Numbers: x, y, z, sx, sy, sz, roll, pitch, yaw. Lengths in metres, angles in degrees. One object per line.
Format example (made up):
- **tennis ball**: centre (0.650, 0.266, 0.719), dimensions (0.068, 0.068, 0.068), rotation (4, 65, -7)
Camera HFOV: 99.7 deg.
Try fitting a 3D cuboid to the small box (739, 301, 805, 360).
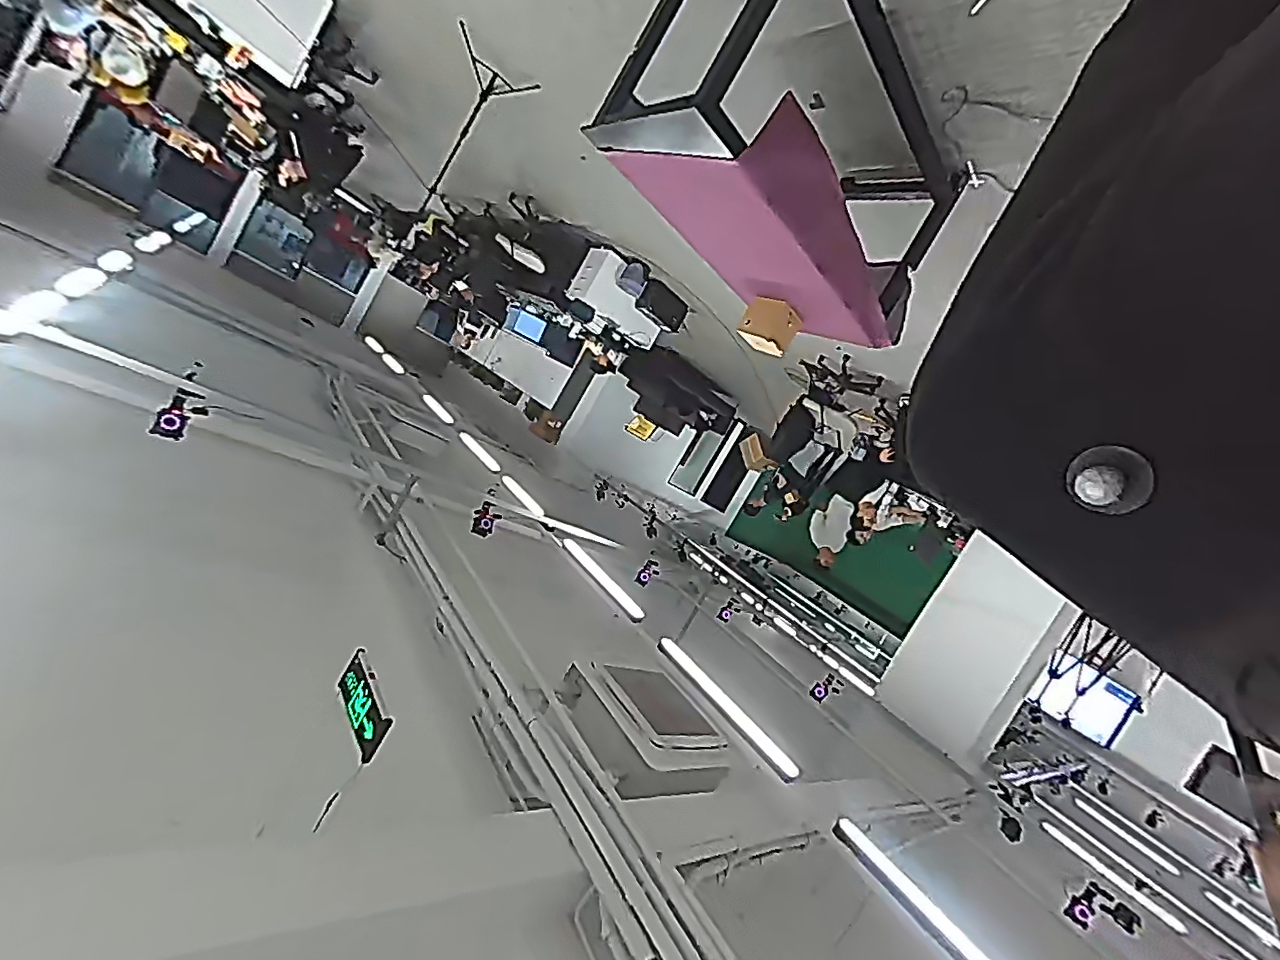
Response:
- **small box**: centre (0.564, -0.639, 2.295), dimensions (0.168, 0.176, 0.179), rotation (27, -175, -44)
